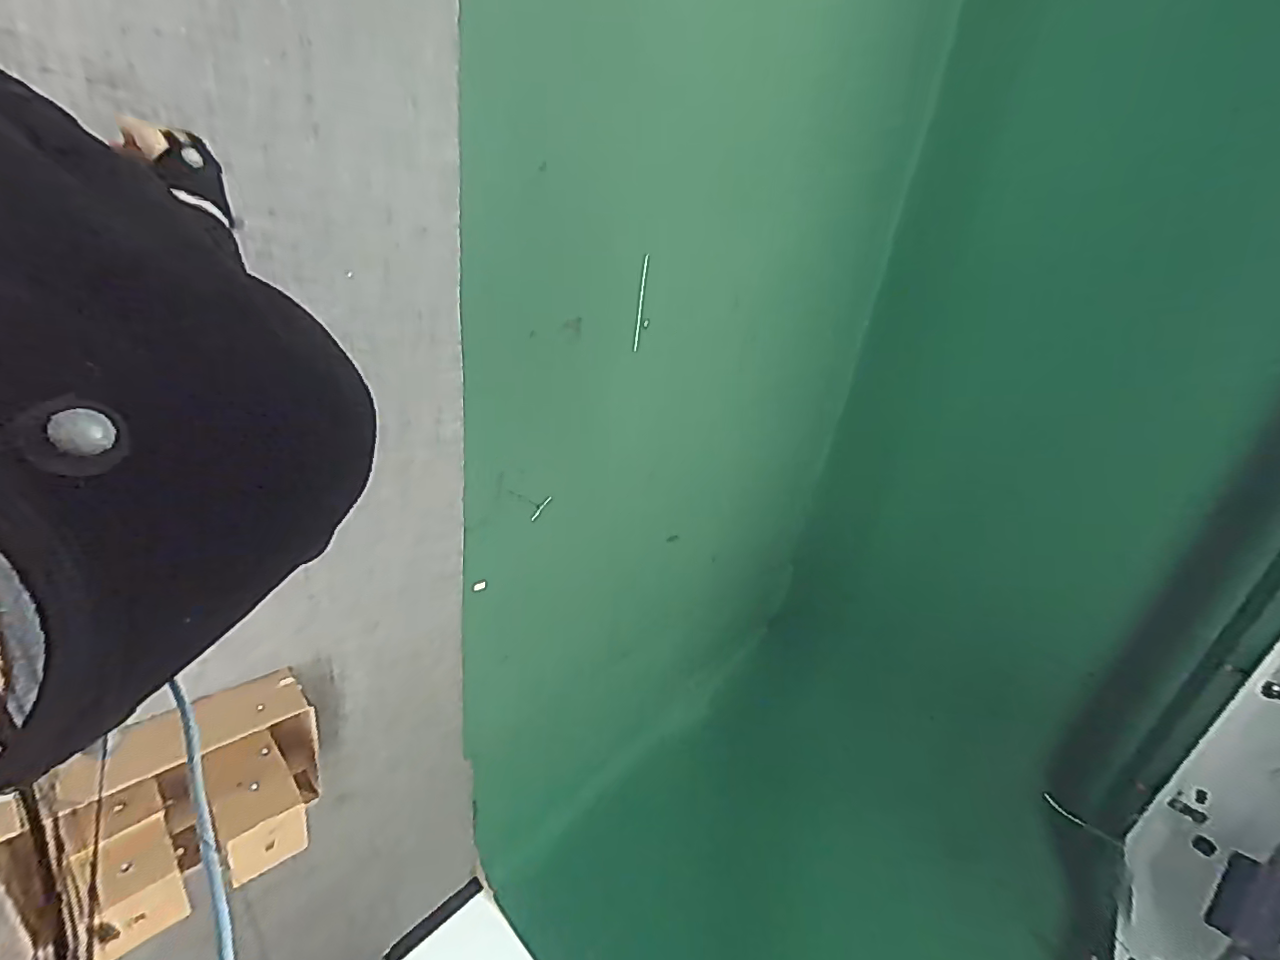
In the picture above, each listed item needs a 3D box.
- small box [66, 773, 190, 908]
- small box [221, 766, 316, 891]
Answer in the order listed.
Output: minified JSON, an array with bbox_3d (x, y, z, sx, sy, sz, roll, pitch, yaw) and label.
[{"bbox_3d":[-1.249,0.867,1.322,0.179,0.176,0.168,-20,124,-46],"label":"small box"},{"bbox_3d":[-0.963,0.894,1.404,0.168,0.176,0.179,-14,120,-46],"label":"small box"}]
